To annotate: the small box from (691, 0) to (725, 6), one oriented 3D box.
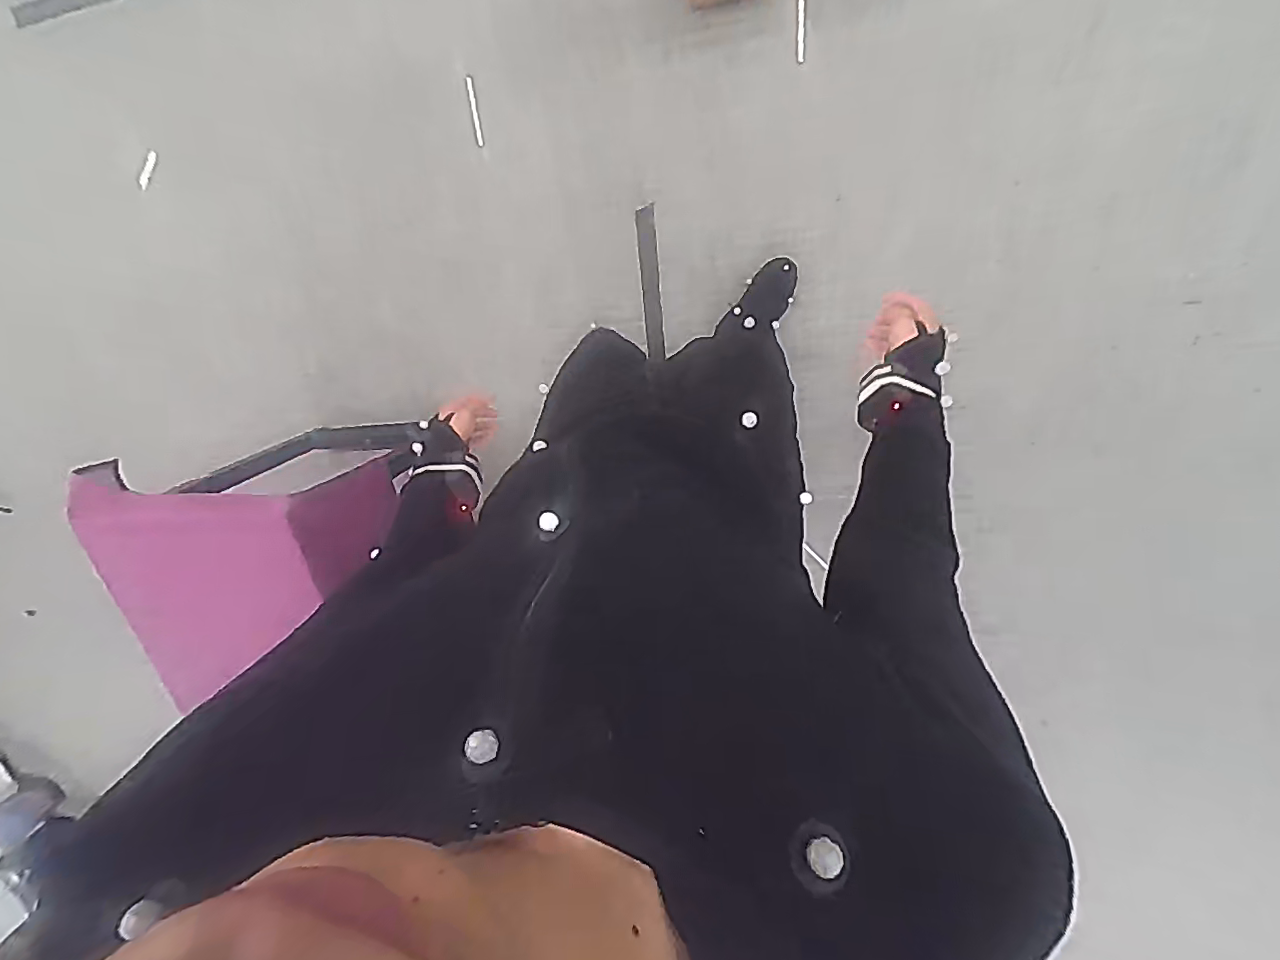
[{"bbox_3d":[0.174,-1.099,1.085,0.179,0.176,0.168,-2,113,14],"label":"small box"}]
